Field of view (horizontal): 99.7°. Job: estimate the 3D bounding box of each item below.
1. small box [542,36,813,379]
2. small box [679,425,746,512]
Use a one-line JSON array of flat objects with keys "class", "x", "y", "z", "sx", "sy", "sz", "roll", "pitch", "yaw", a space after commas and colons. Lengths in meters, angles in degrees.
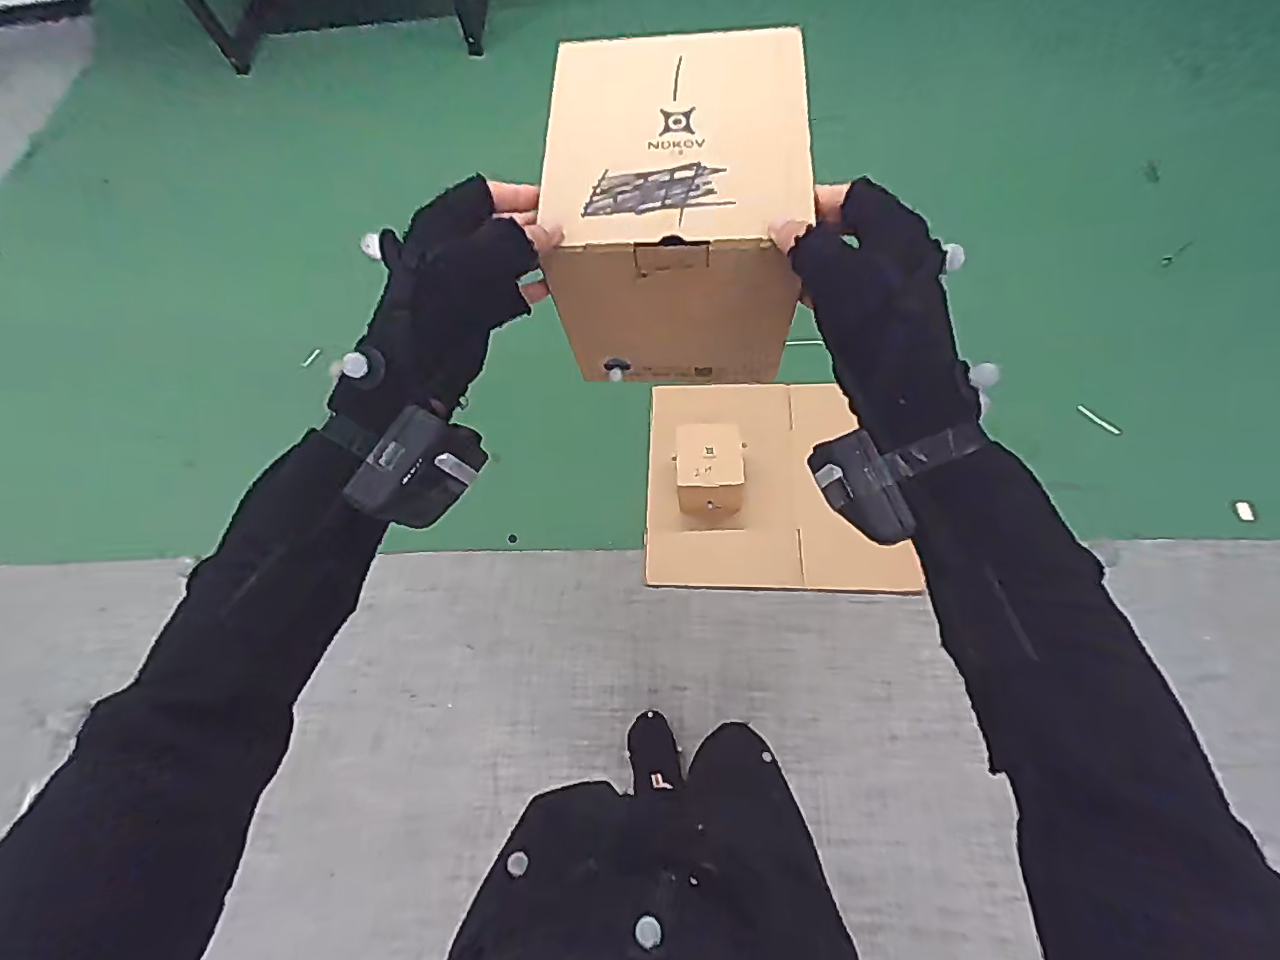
[{"class": "small box", "x": 0.033, "y": -0.191, "z": 0.421, "sx": 0.168, "sy": 0.176, "sz": 0.179, "roll": 1, "pitch": 71, "yaw": 6}, {"class": "small box", "x": 0.187, "y": -0.027, "z": 1.416, "sx": 0.168, "sy": 0.176, "sz": 0.179, "roll": -2, "pitch": 66, "yaw": 7}]
